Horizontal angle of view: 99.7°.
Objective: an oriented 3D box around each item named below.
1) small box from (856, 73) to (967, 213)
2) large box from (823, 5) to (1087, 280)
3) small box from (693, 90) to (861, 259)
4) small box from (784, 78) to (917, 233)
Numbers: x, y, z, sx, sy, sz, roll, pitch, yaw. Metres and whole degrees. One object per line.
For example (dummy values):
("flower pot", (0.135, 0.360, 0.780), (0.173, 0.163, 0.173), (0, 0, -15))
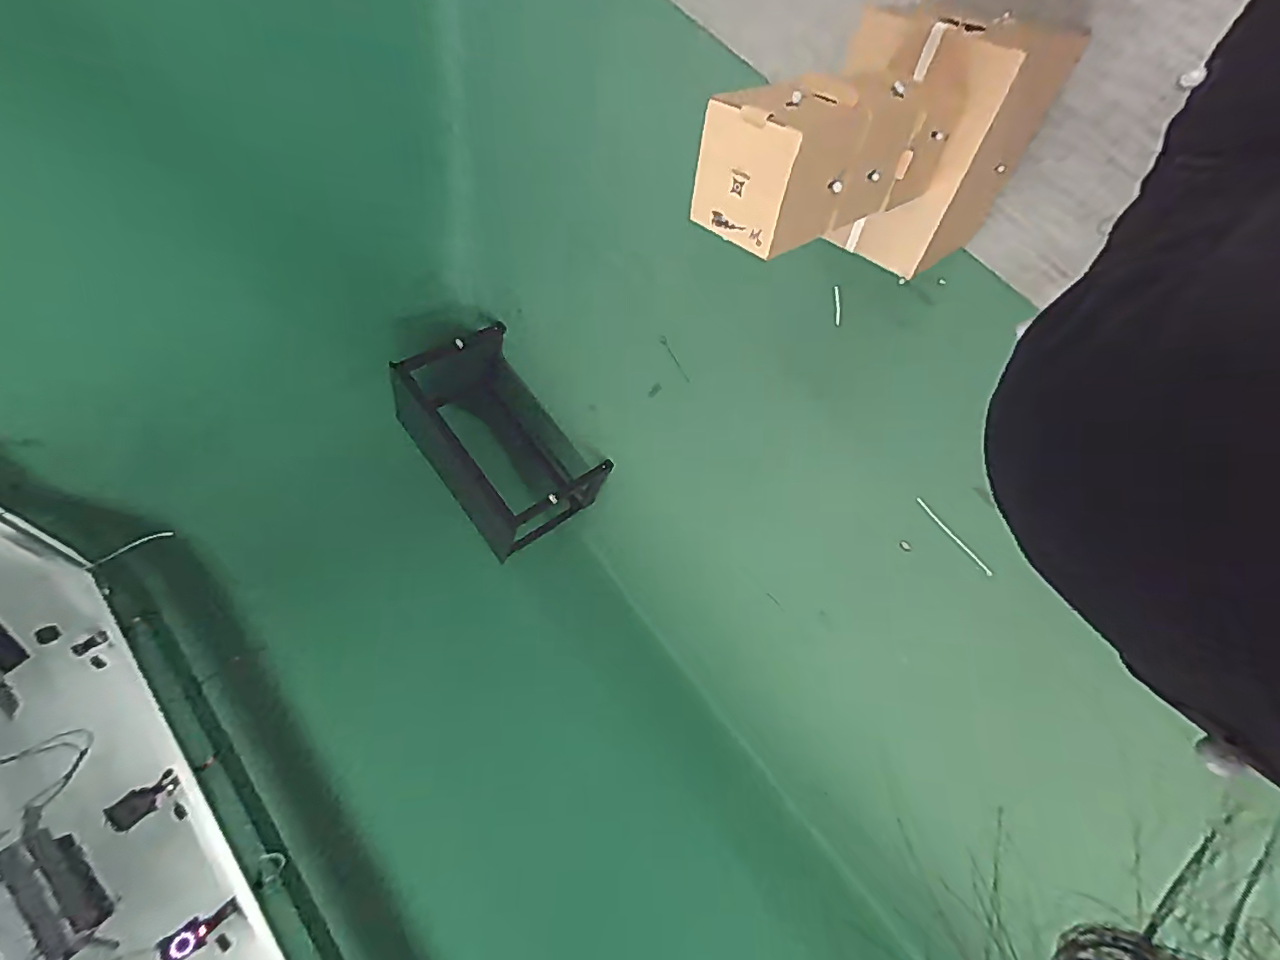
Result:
("small box", (0.454, -0.625, 0.995), (0.179, 0.176, 0.168), (42, 147, 25))
("large box", (0.621, -0.720, 1.153), (0.320, 0.320, 0.408), (43, 149, 27))
("small box", (0.210, -0.477, 0.834), (0.168, 0.176, 0.179), (42, 145, 26))
("small box", (0.333, -0.553, 0.913), (0.168, 0.176, 0.179), (41, 146, 26))
